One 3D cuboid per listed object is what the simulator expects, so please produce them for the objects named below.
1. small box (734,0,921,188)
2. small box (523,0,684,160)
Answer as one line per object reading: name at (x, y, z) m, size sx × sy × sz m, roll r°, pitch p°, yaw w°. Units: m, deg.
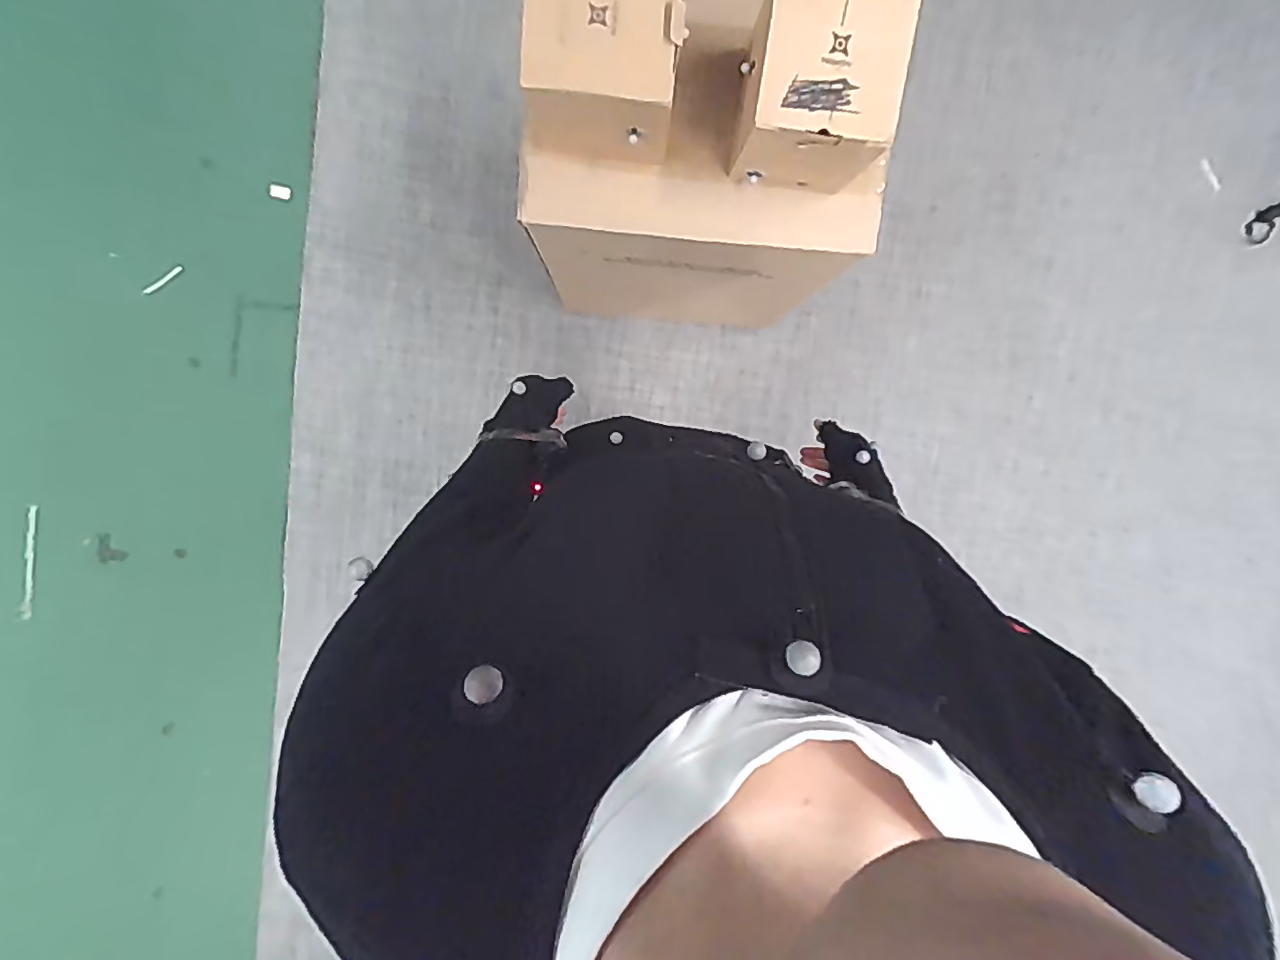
small box at (0.223, -0.498, 0.688) m, size 0.168 × 0.176 × 0.179 m, roll 7°, pitch 100°, yaw -2°
small box at (-0.041, -0.530, 0.685) m, size 0.179 × 0.176 × 0.168 m, roll 5°, pitch 99°, yaw 0°
